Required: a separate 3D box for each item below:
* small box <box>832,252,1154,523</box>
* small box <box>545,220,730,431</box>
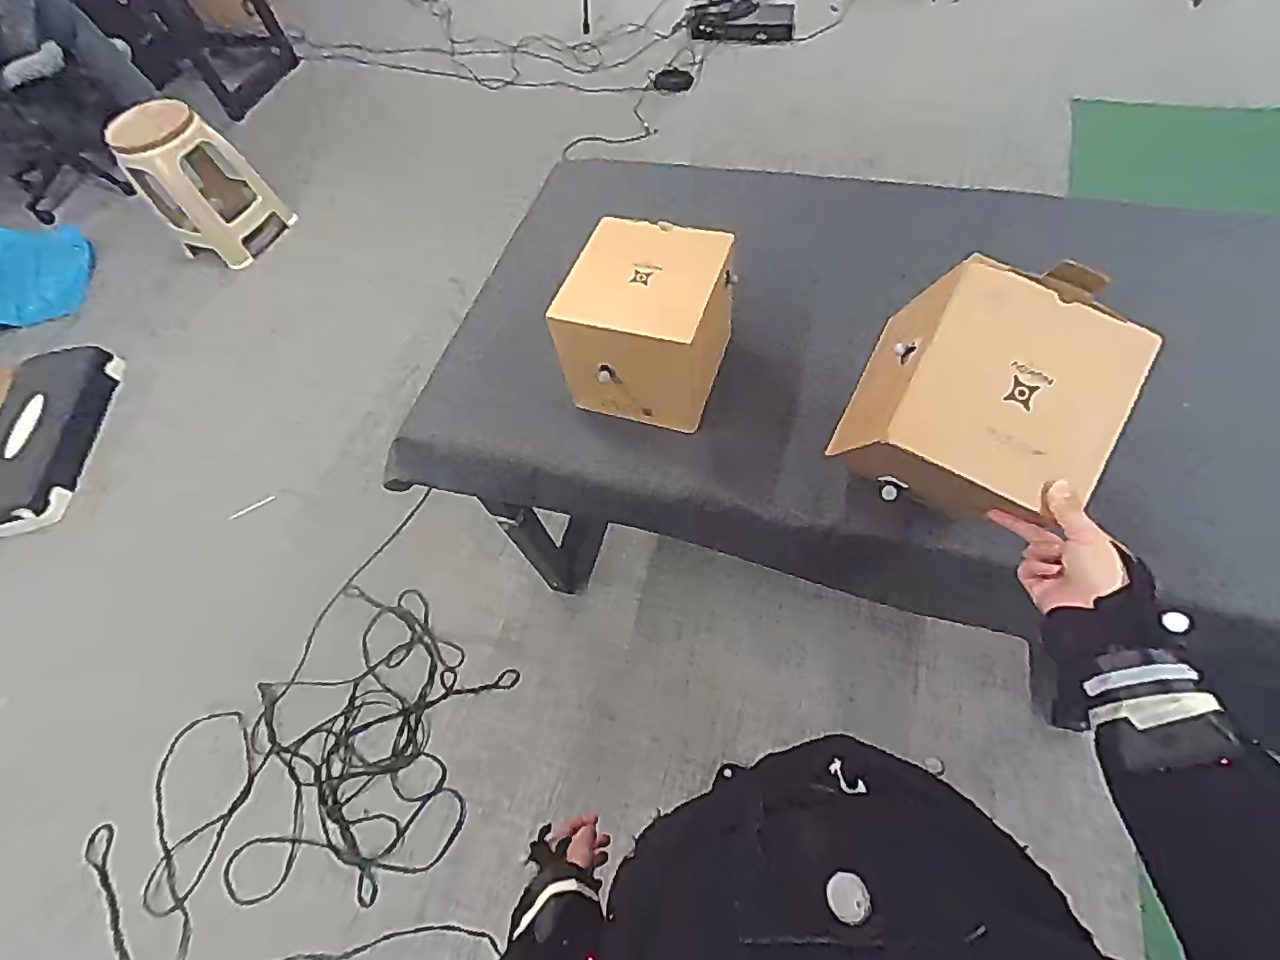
[{"bbox_3d":[0.309,-0.072,0.517,0.168,0.176,0.179,26,88,4],"label":"small box"},{"bbox_3d":[0.009,-0.184,0.665,0.168,0.176,0.179,14,62,14],"label":"small box"}]
